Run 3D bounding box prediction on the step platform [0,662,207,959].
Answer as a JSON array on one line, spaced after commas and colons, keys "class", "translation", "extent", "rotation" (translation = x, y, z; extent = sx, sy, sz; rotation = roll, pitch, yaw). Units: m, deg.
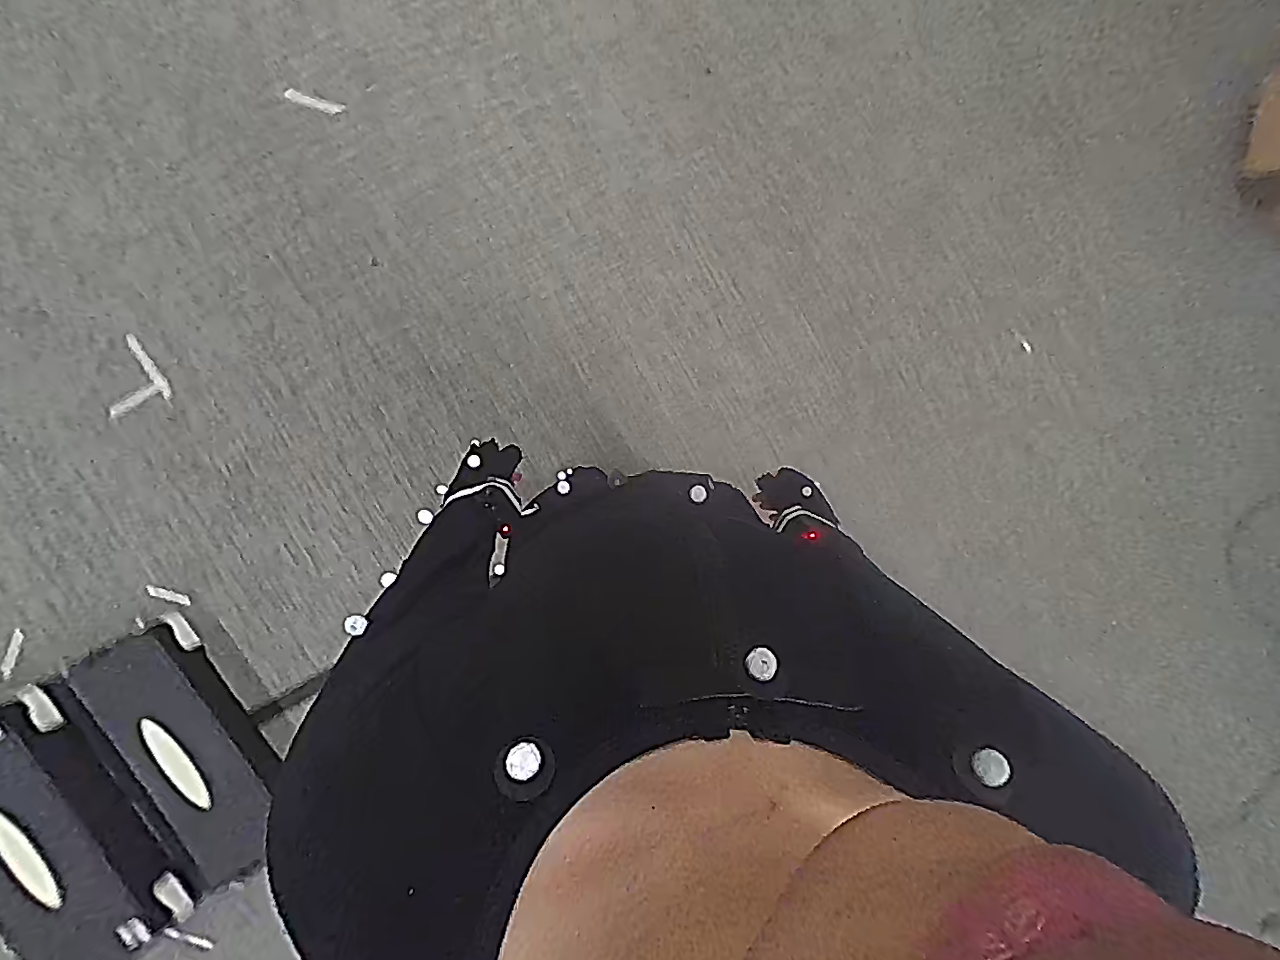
[{"class": "step platform", "translation": [-1.397, 0.803, 1.293], "extent": [0.286, 0.204, 0.684], "rotation": [-31, 93, -4]}]
